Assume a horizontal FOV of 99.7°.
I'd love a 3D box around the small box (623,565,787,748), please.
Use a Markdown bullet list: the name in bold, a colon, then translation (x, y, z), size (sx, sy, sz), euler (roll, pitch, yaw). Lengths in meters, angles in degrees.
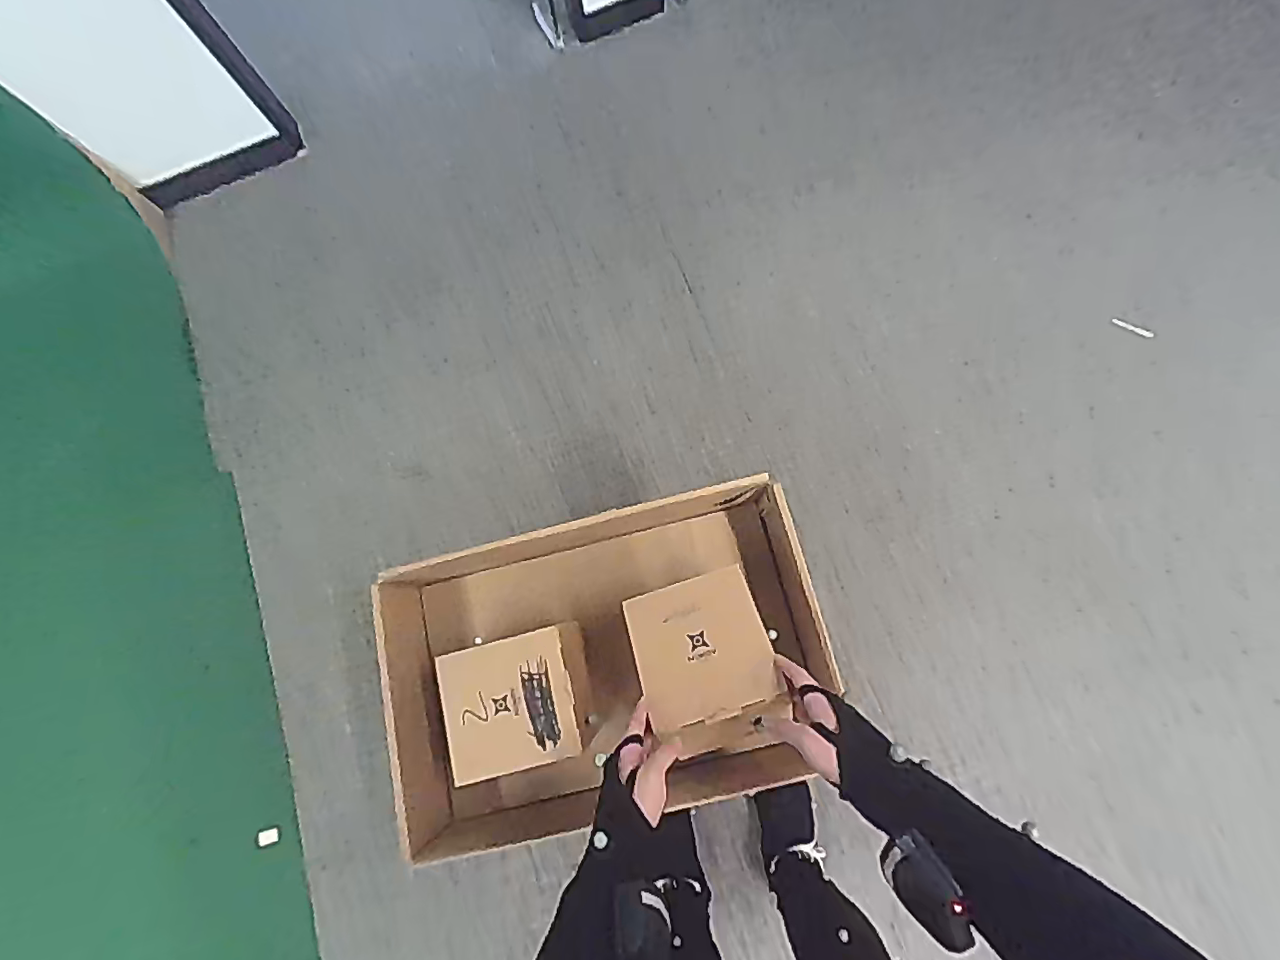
- **small box**: translation (0.092, 0.248, 0.733), size (0.168, 0.176, 0.179), euler (-19, 52, 4)
